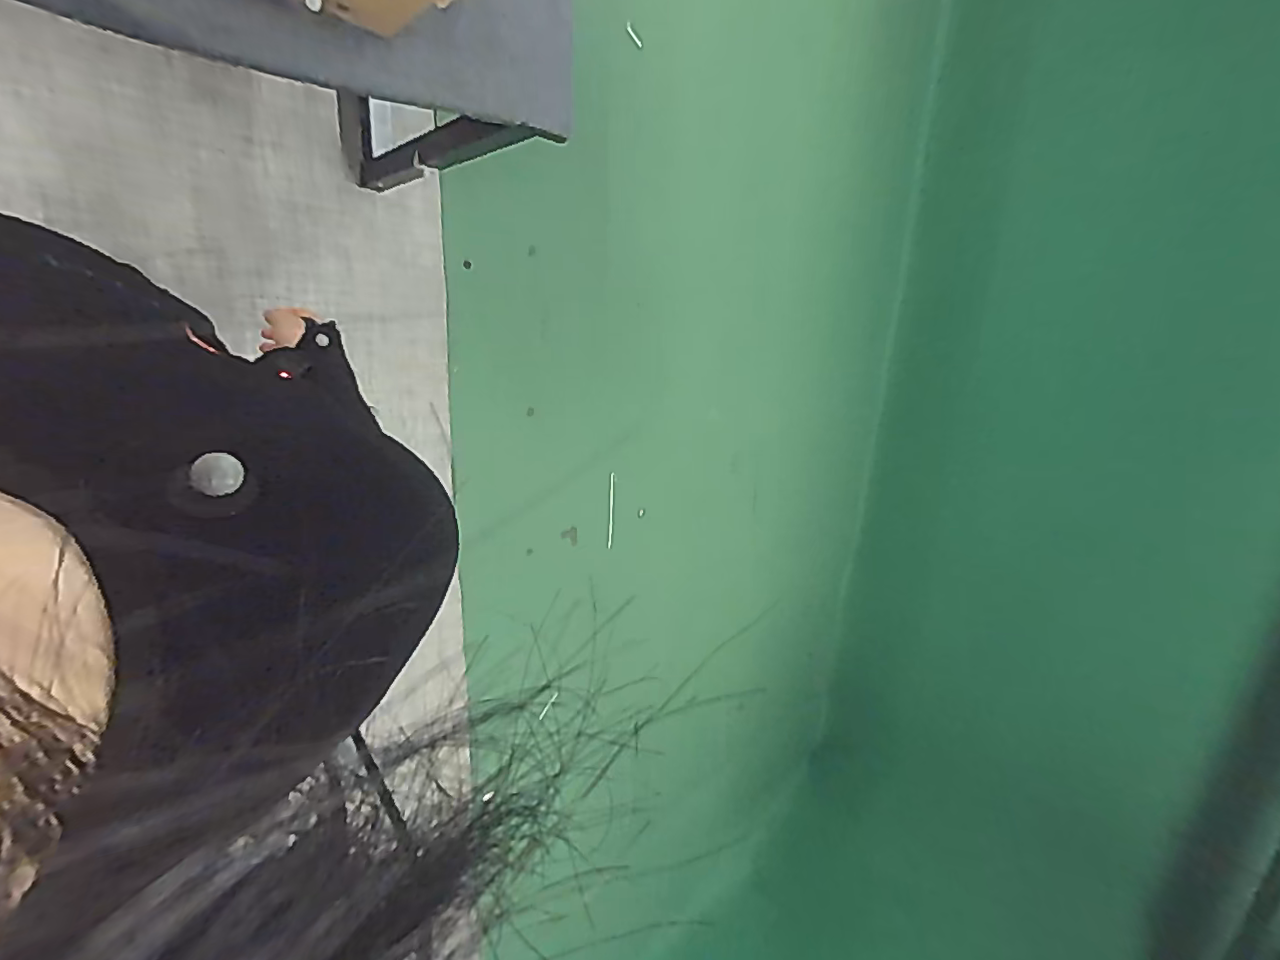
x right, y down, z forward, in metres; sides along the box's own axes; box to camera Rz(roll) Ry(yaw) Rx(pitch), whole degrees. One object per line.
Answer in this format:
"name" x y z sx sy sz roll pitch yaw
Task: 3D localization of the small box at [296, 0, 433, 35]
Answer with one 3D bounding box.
"small box" -0.300 -0.590 0.525 0.168 0.176 0.179 -10 110 -43
